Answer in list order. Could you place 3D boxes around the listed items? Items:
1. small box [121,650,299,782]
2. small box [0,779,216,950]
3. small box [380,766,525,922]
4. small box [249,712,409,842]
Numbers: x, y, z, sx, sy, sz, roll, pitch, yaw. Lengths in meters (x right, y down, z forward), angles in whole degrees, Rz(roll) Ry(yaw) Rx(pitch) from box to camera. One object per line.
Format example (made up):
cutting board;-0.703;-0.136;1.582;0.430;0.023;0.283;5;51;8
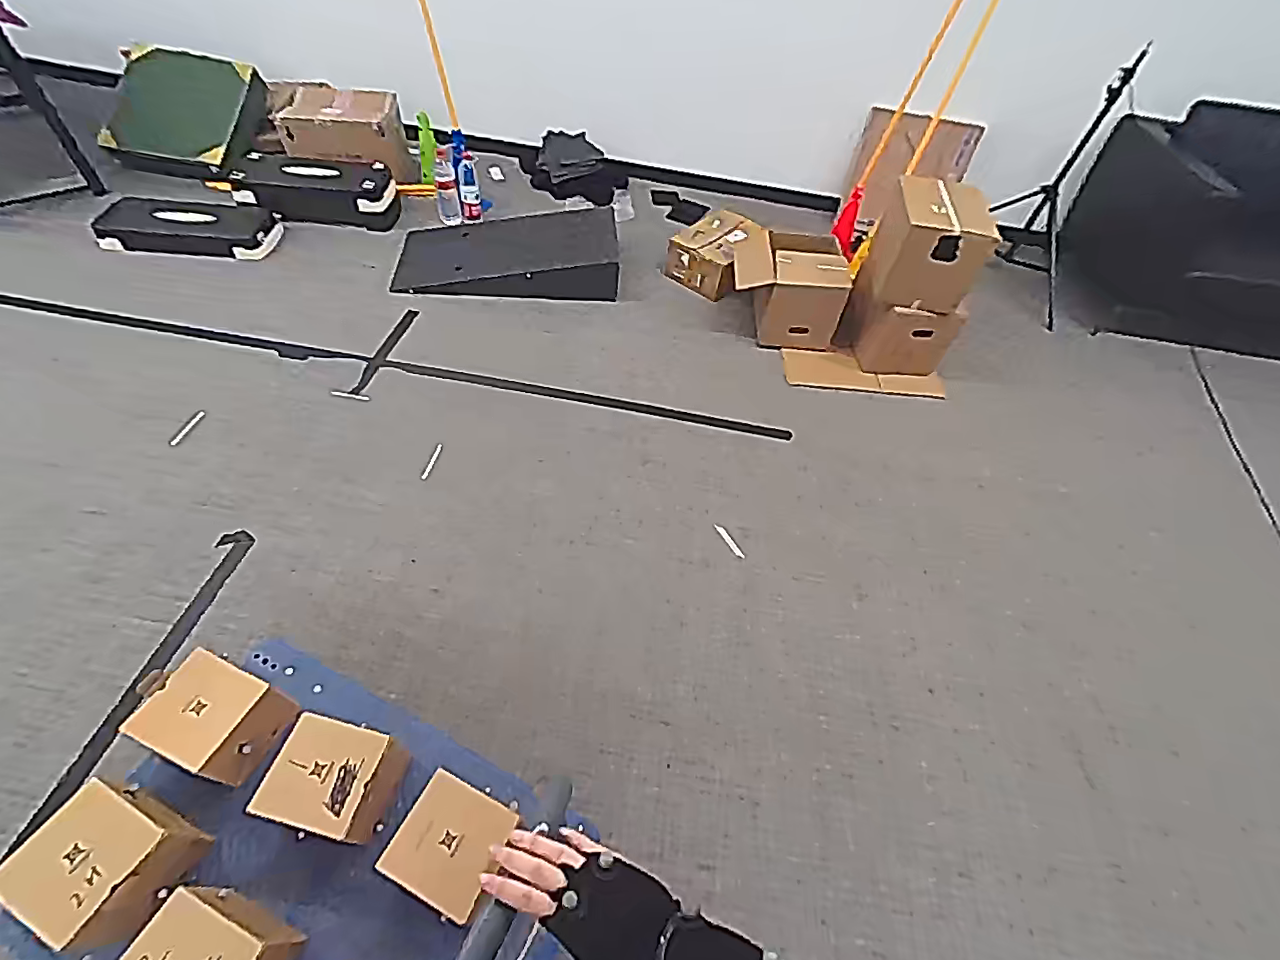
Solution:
small box;-0.812;0.463;1.046;0.179;0.176;0.168;21;53;8
small box;-0.876;0.637;0.901;0.179;0.176;0.168;26;54;11
small box;-0.321;0.651;0.972;0.179;0.176;0.168;24;52;11
small box;-0.560;0.558;1.008;0.179;0.176;0.168;13;52;3
